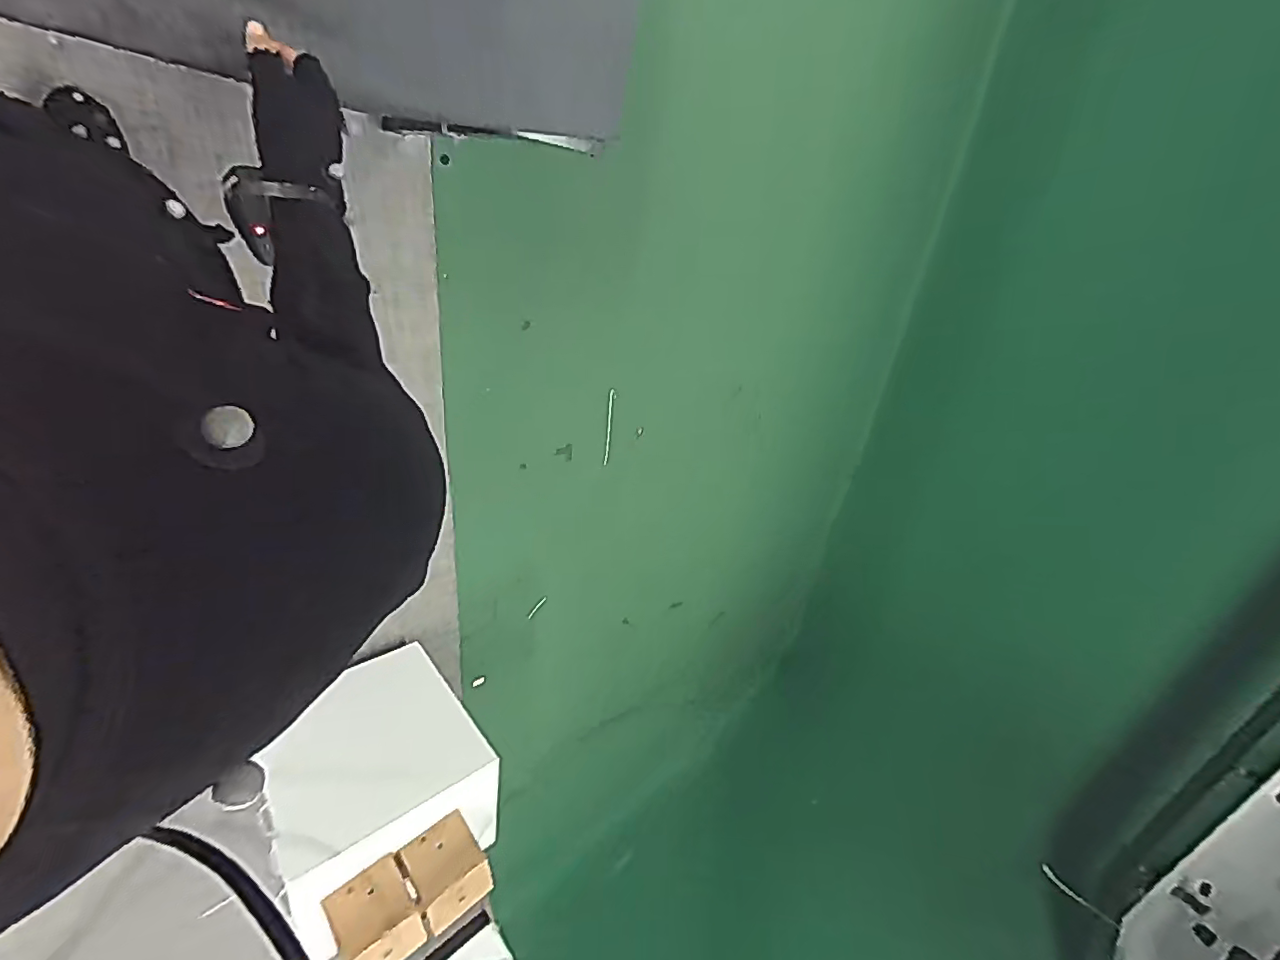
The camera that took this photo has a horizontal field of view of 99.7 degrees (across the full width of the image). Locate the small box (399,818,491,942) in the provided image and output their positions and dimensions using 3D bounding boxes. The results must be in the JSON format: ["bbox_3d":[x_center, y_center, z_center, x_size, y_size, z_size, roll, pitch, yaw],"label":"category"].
[{"bbox_3d":[-0.512,1.043,1.422,0.168,0.176,0.179,-23,130,-37],"label":"small box"}]
